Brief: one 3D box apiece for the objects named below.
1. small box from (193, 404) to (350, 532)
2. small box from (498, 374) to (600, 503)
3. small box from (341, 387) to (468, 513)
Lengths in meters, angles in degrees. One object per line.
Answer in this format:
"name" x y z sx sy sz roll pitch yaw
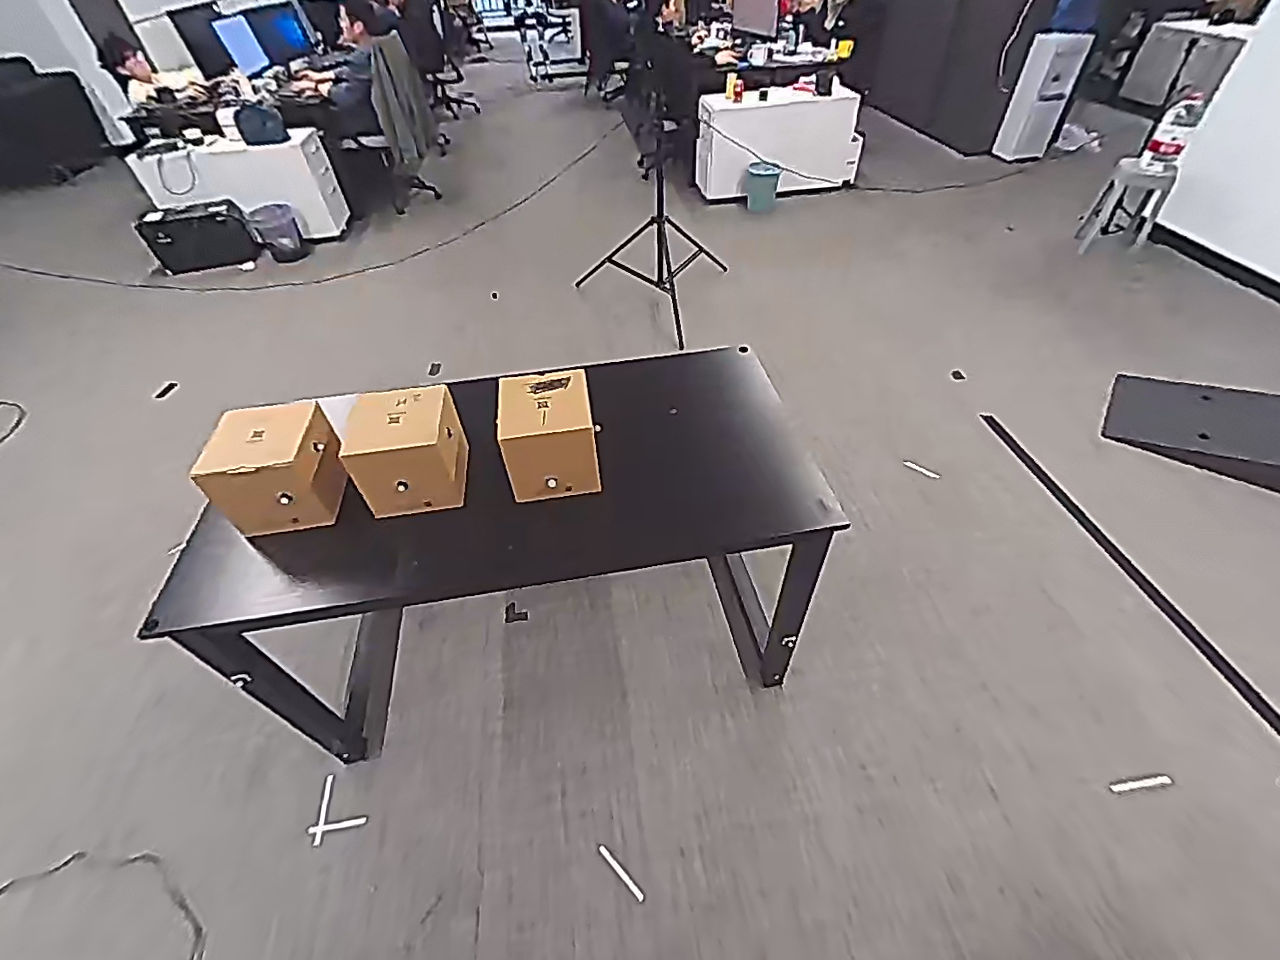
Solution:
"small box" -0.671 -0.016 1.014 0.168 0.176 0.179 -8 45 -6
"small box" -0.172 -0.080 1.046 0.168 0.176 0.179 -8 47 -4
"small box" -0.435 -0.051 1.031 0.168 0.176 0.179 -7 46 -5
